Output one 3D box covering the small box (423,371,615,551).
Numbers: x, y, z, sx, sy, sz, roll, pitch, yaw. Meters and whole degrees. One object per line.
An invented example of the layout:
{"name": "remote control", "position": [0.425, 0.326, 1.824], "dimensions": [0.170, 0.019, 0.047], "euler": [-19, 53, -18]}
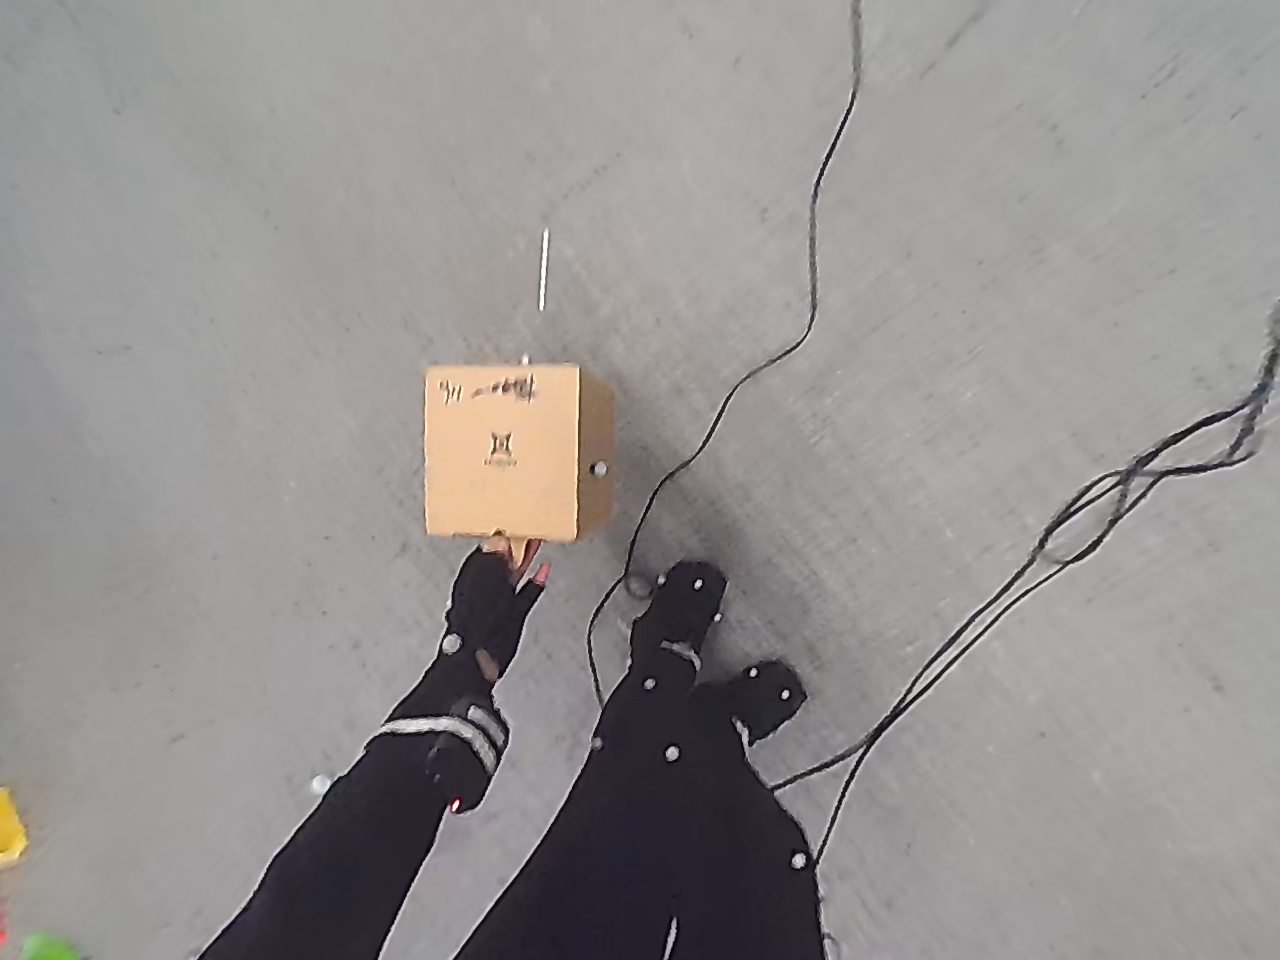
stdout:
{"name": "small box", "position": [-0.126, -0.025, 0.618], "dimensions": [0.168, 0.176, 0.179], "euler": [3, 93, 9]}
